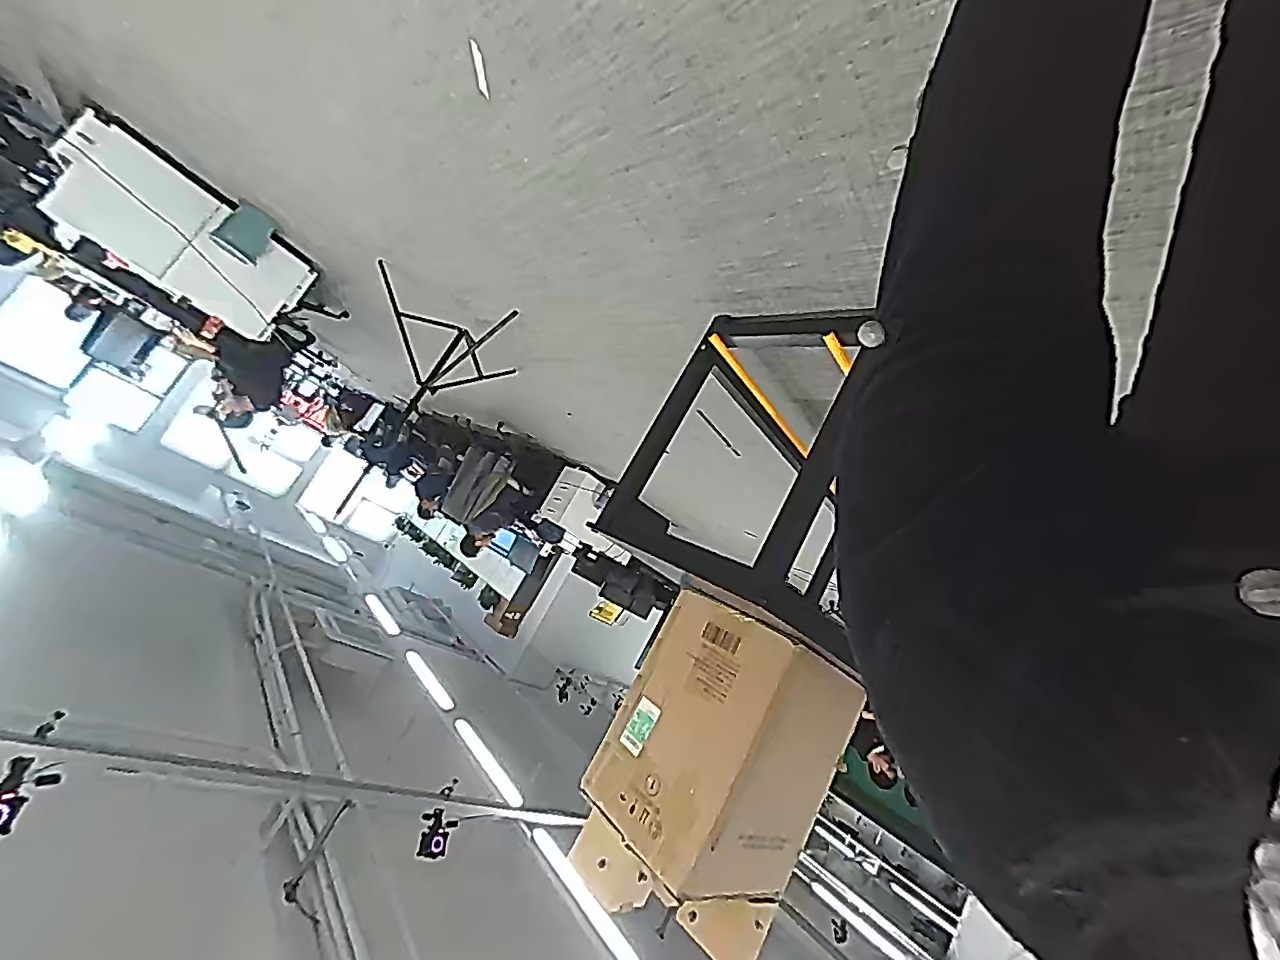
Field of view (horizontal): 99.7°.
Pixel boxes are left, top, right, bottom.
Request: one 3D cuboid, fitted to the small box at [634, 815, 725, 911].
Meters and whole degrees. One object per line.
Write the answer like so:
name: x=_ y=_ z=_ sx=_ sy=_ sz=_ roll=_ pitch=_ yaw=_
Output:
small box: x=0.124 y=1.138 z=1.615 sx=0.168 sy=0.176 sz=0.179 roll=18 pitch=163 yaw=49
